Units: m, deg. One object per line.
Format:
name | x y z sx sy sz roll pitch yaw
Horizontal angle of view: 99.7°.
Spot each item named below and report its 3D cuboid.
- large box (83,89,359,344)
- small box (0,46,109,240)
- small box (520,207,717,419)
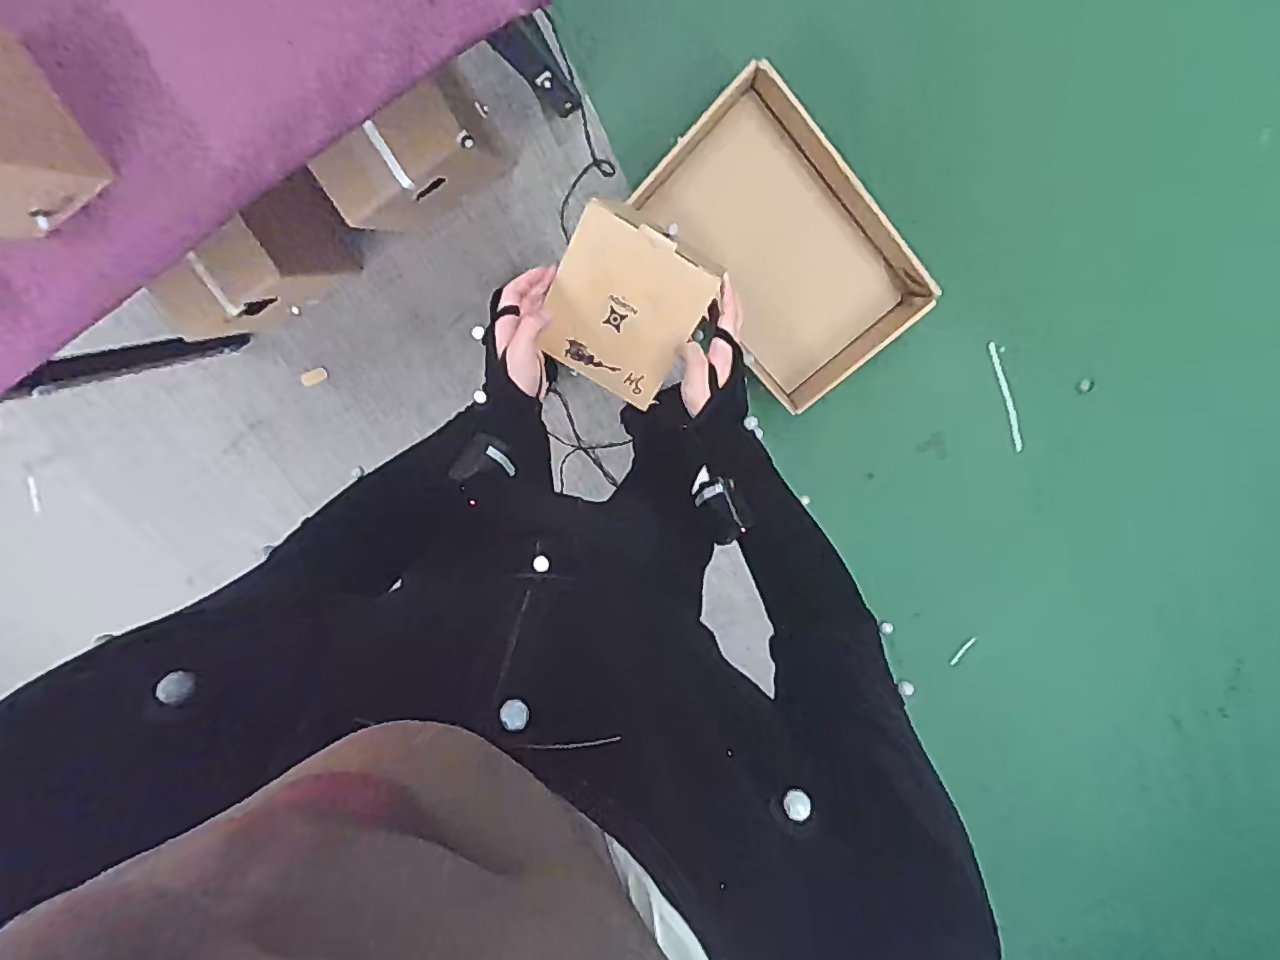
large box | -0.974 -0.586 1.274 0.320 0.320 0.408 -24 107 14
small box | -0.792 -0.394 0.616 0.168 0.176 0.179 -22 108 15
small box | -0.018 -0.211 0.668 0.168 0.176 0.179 30 117 -4
